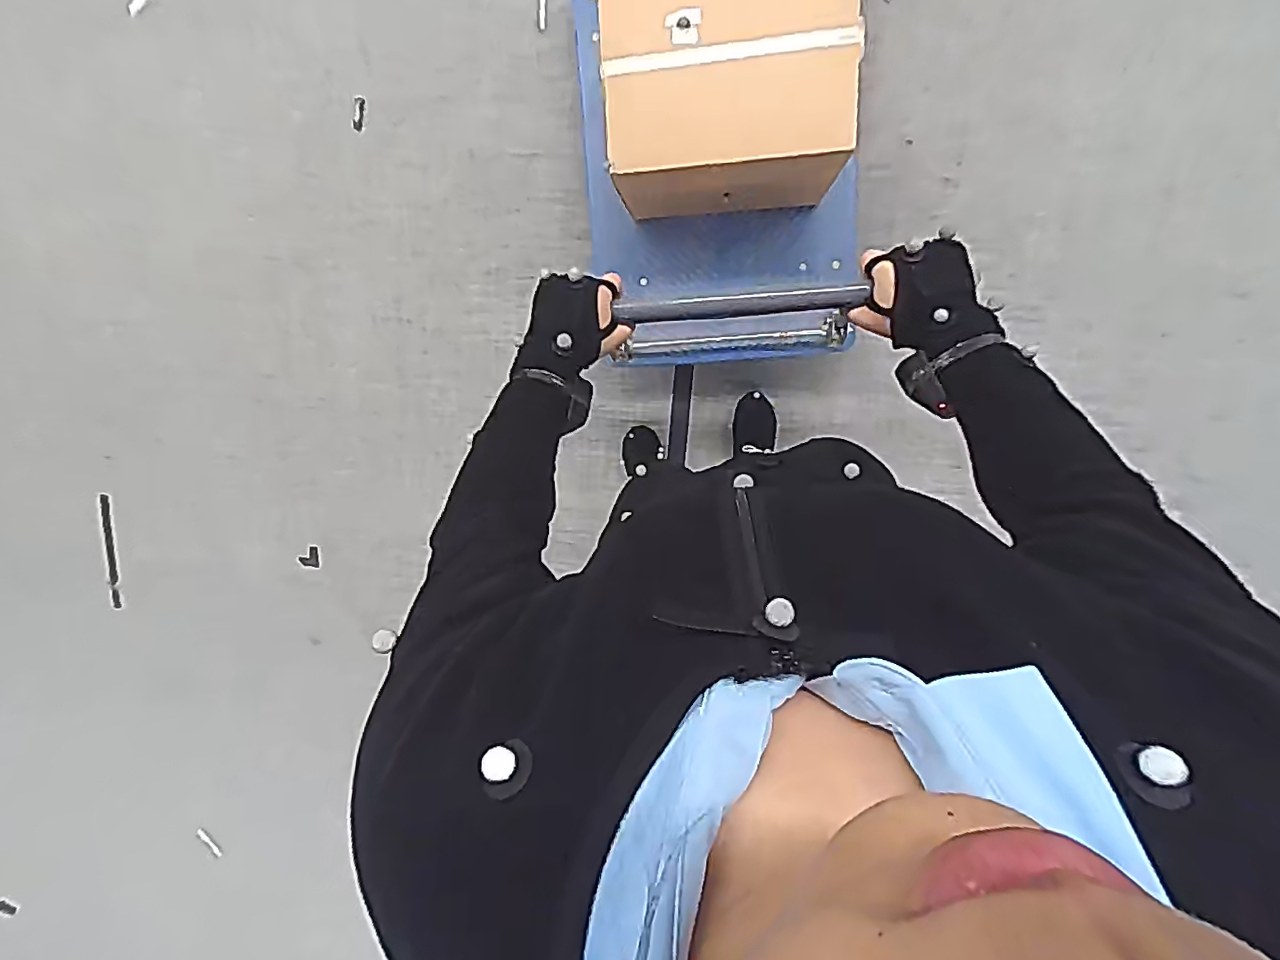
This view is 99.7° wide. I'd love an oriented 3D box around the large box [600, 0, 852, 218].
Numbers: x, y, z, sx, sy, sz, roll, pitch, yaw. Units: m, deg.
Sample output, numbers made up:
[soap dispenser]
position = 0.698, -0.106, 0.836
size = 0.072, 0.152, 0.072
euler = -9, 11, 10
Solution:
[large box]
position = 0.161, -0.716, 1.024
size = 0.408, 0.320, 0.320
euler = -2, 101, 9
